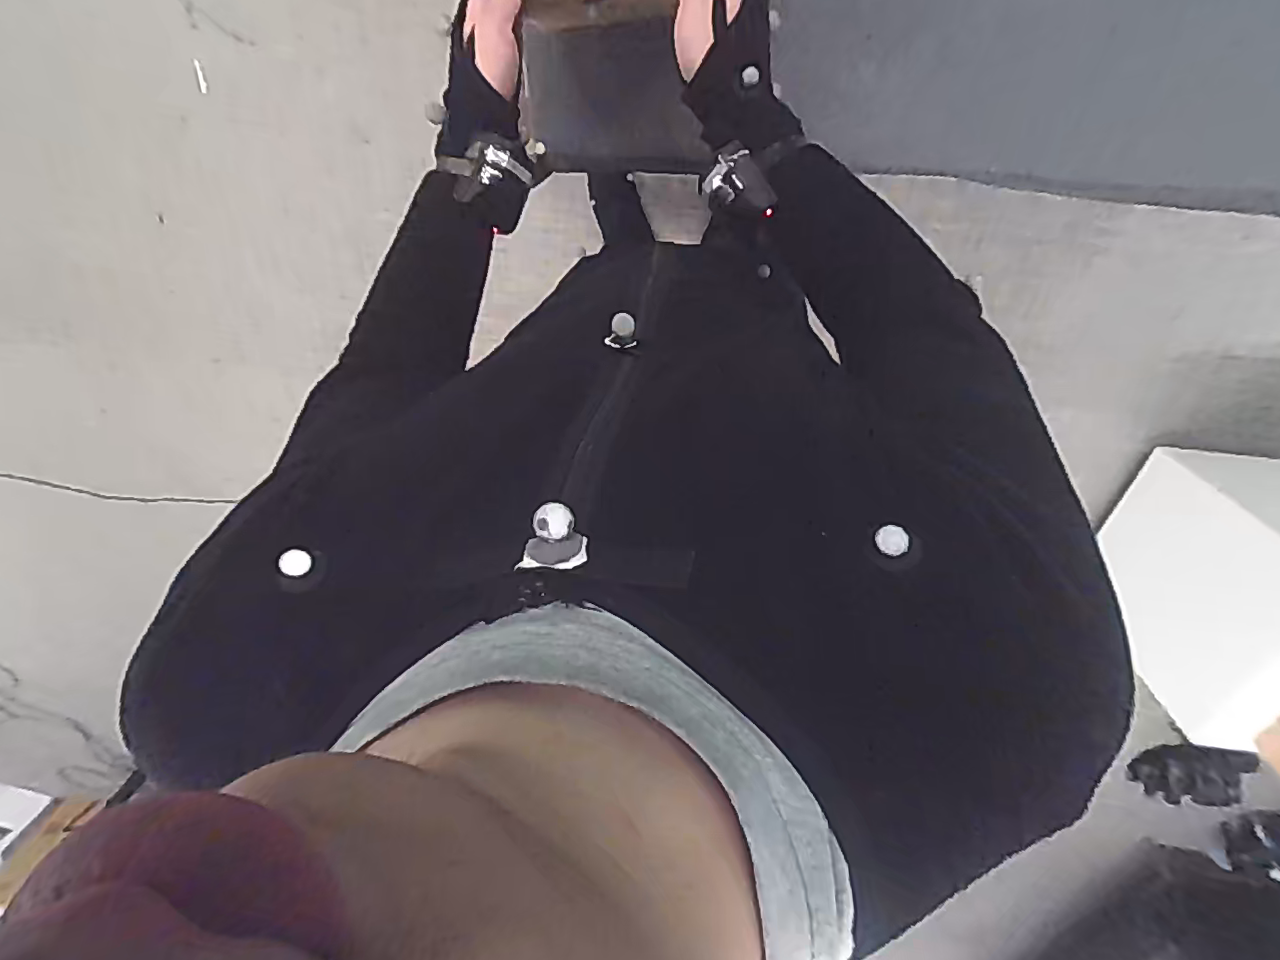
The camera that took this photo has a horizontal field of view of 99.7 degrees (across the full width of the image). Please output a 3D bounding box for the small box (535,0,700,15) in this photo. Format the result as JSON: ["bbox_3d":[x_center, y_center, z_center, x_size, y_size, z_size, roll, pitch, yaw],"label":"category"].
[{"bbox_3d":[-0.021,-0.486,0.421,0.179,0.176,0.168,-1,124,5],"label":"small box"}]
